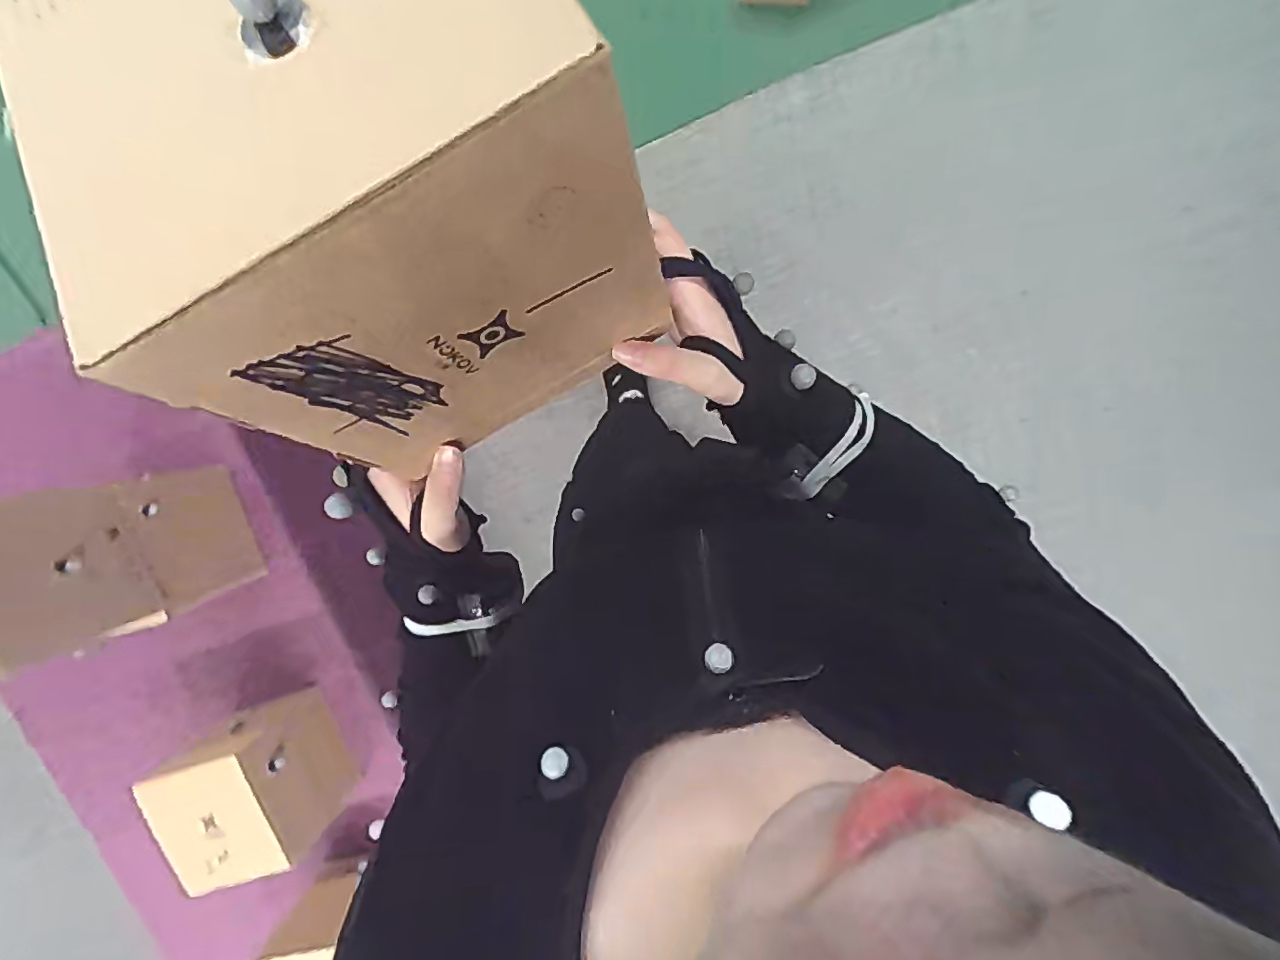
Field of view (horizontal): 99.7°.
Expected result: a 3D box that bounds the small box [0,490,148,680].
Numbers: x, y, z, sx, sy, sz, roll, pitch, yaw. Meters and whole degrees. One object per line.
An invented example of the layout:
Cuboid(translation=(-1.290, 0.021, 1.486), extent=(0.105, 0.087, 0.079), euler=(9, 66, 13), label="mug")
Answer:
Cuboid(translation=(-0.690, 0.122, 0.579), extent=(0.179, 0.176, 0.168), euler=(-20, 97, 7), label="small box")

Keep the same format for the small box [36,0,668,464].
Cuboid(translation=(-0.107, -0.134, 0.248), extent=(0.179, 0.168, 0.176), euler=(-28, 77, 3), label="small box")

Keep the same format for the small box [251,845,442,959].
Cuboid(translation=(-0.431, 0.710, 0.826), extent=(0.168, 0.176, 0.179), euler=(-15, 98, 6), label="small box")

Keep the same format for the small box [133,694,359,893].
Cuboid(translation=(-0.556, 0.439, 0.788), extent=(0.168, 0.176, 0.179), euler=(-19, 98, 8), label="small box")

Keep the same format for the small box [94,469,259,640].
Cuboid(translation=(-0.676, 0.097, 0.741), extent=(0.168, 0.176, 0.179), euler=(-16, 98, 7), label="small box")
